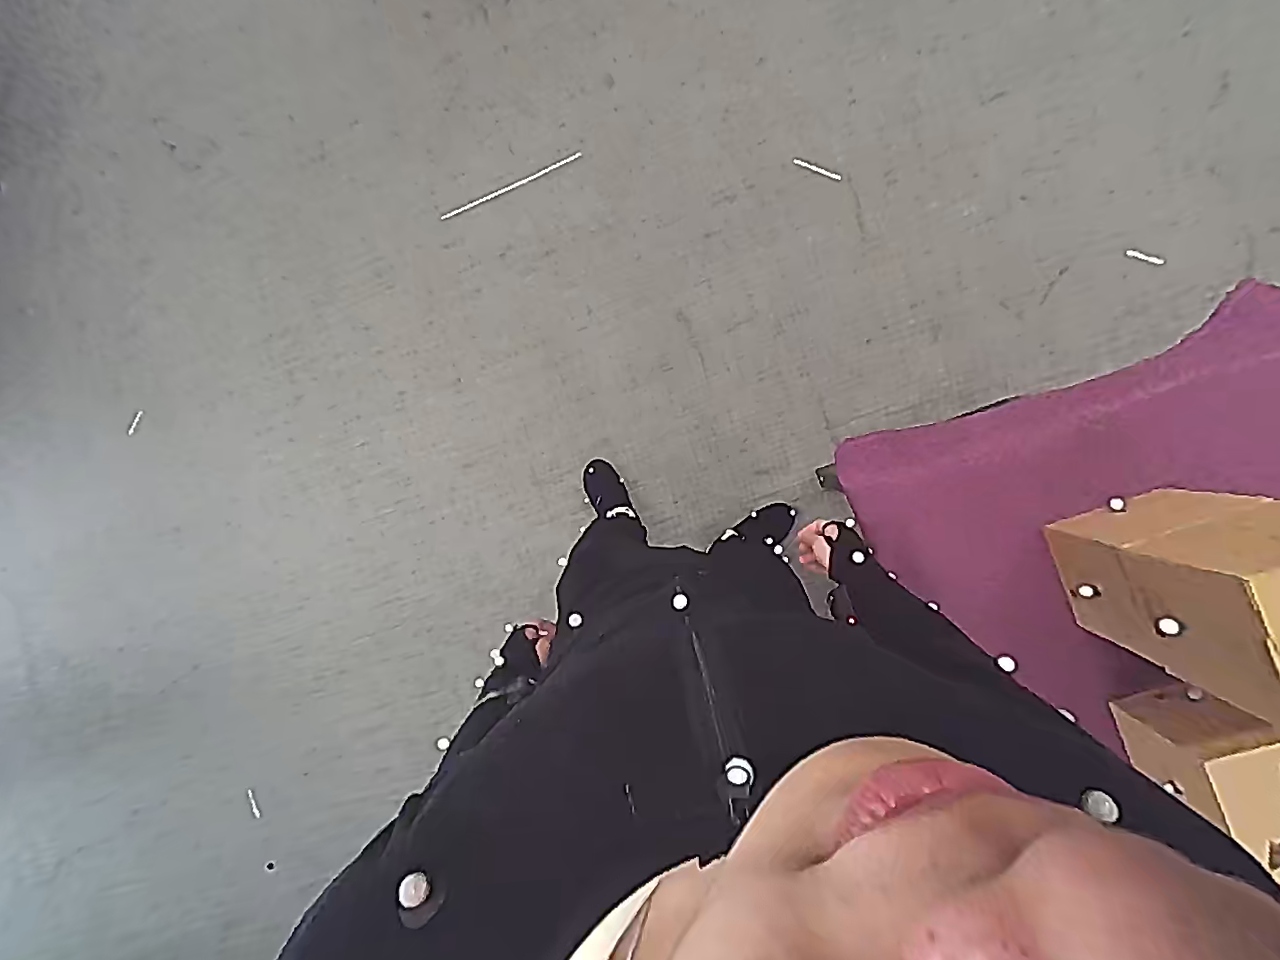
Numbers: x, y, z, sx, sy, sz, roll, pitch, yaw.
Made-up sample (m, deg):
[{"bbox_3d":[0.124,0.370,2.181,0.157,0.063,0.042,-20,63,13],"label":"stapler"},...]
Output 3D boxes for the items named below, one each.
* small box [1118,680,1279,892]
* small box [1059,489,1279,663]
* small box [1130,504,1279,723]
[{"bbox_3d":[0.810,0.393,0.727,0.168,0.176,0.179,-21,89,9],"label":"small box"},{"bbox_3d":[0.712,0.119,0.726,0.179,0.176,0.168,-21,91,10],"label":"small box"},{"bbox_3d":[0.686,0.131,0.564,0.179,0.176,0.168,-21,89,10],"label":"small box"}]
